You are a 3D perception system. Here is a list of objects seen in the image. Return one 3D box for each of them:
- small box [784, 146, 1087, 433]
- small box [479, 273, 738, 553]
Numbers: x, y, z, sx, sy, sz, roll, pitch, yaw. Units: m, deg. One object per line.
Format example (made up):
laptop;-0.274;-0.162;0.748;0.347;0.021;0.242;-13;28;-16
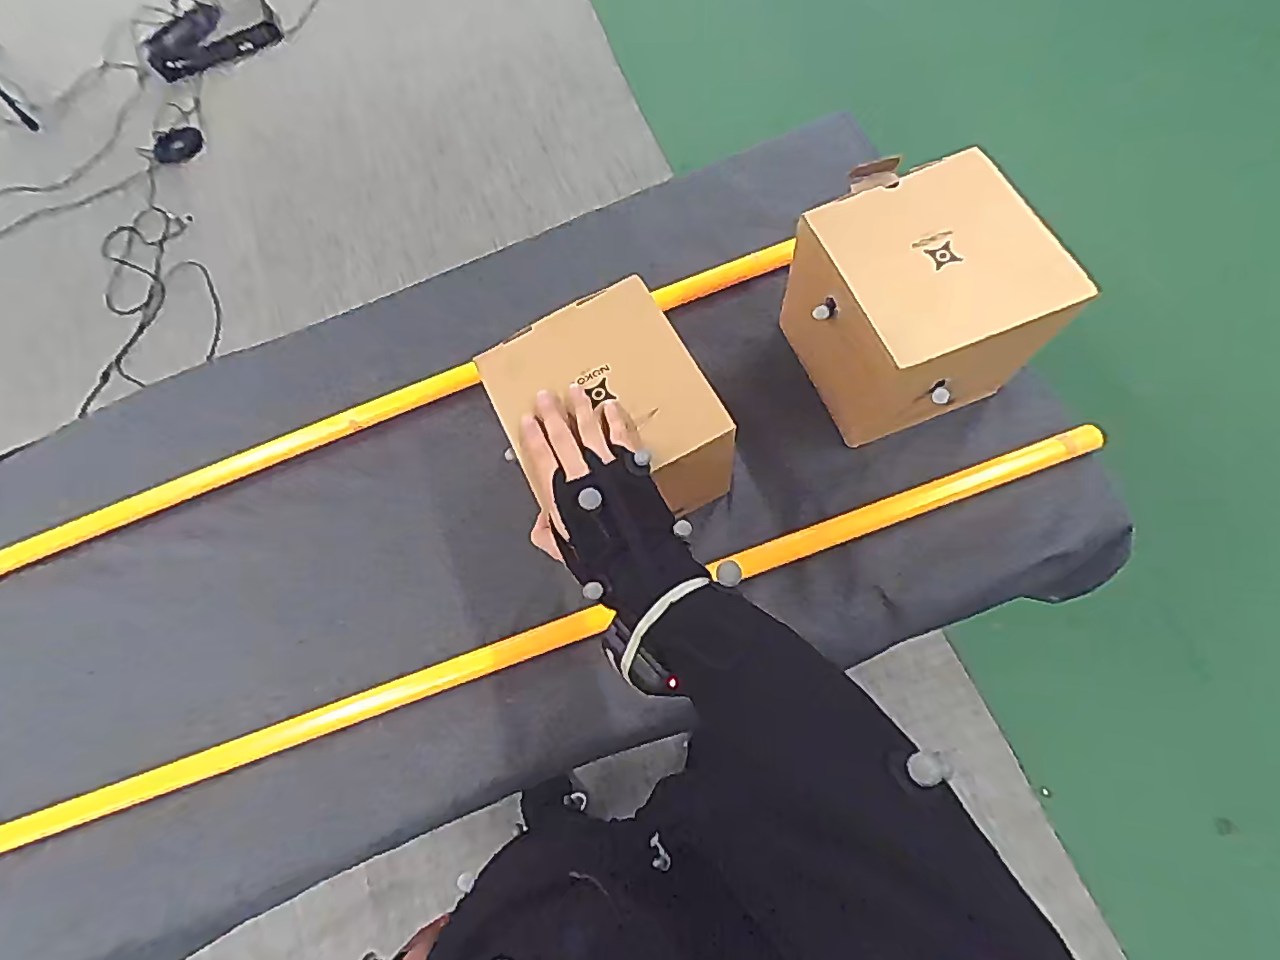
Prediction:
small box;0.255;-0.164;0.522;0.168;0.176;0.179;-22;69;1
small box;-0.023;-0.052;0.521;0.168;0.176;0.179;-29;70;-2
